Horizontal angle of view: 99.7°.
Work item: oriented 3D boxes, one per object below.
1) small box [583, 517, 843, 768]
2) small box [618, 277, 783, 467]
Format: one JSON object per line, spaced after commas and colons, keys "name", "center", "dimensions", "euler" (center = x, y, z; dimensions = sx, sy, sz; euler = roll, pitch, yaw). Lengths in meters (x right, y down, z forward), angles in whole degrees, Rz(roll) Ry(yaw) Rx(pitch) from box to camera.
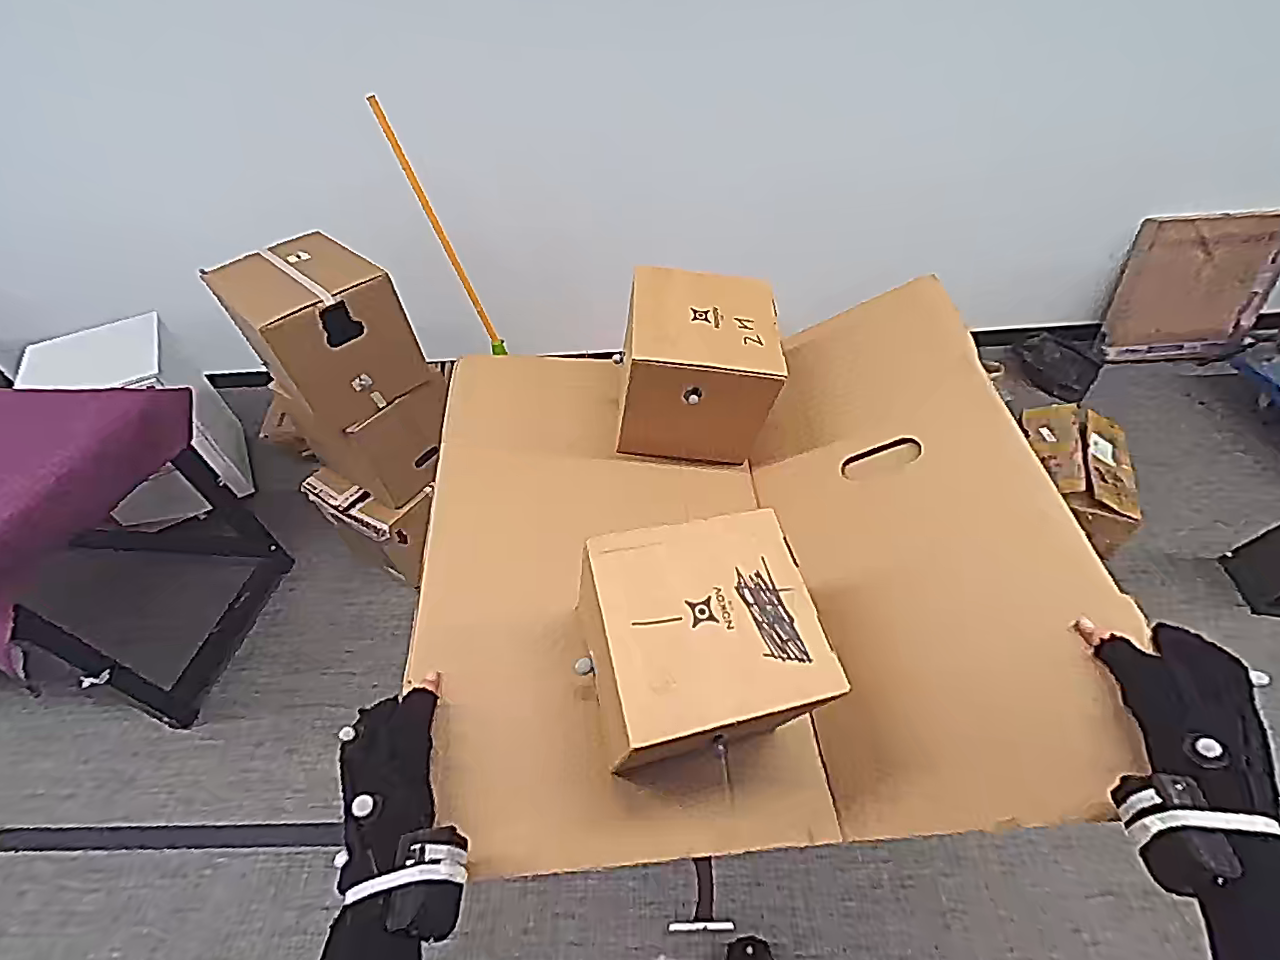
{"name": "small box", "center": [0.048, 0.155, 0.506], "dimensions": [0.179, 0.176, 0.168], "euler": [-8, 58, -13]}
{"name": "small box", "center": [0.067, -0.133, 0.703], "dimensions": [0.179, 0.176, 0.168], "euler": [6, 56, -6]}
